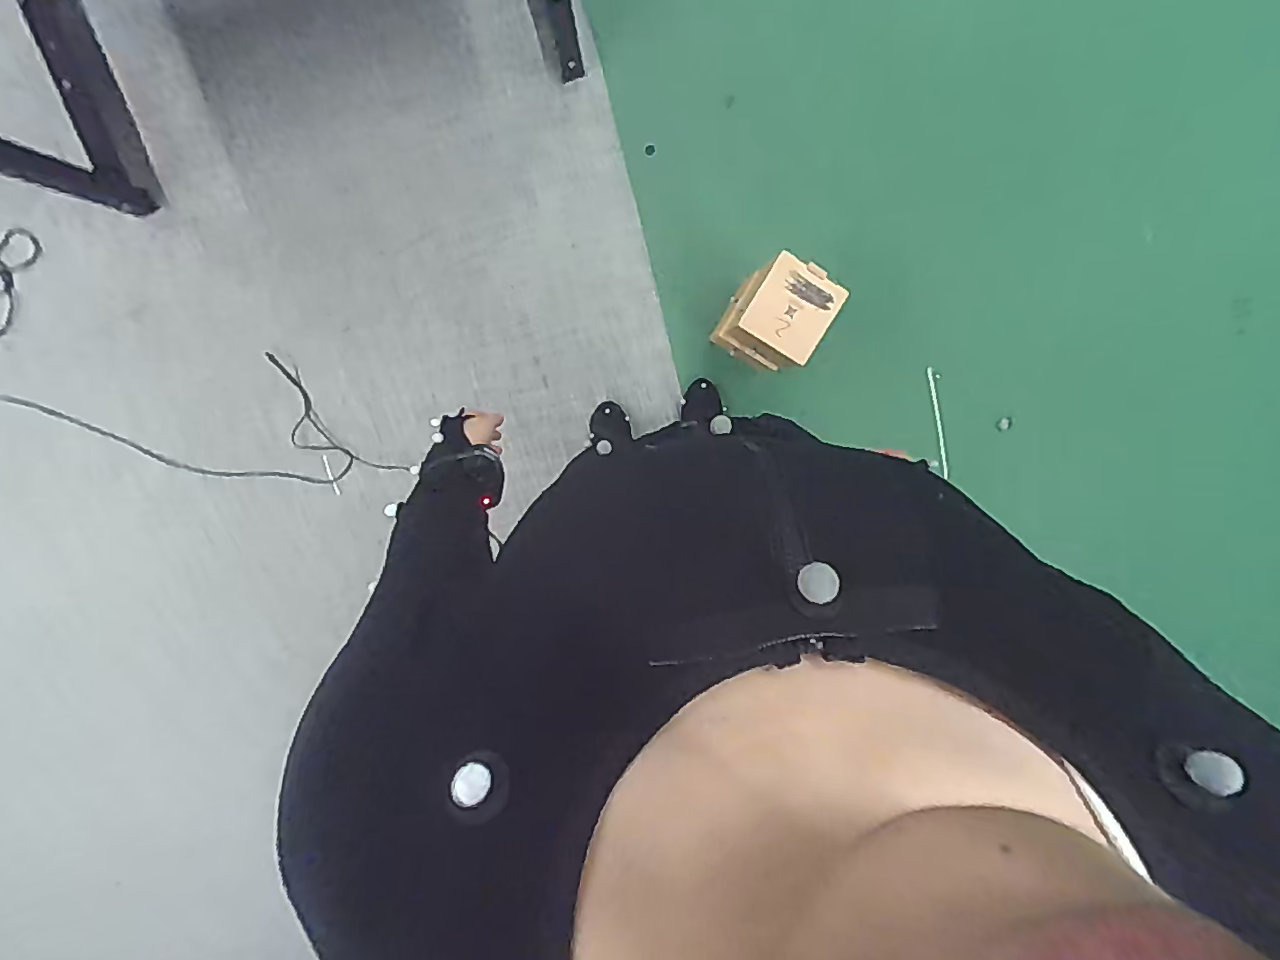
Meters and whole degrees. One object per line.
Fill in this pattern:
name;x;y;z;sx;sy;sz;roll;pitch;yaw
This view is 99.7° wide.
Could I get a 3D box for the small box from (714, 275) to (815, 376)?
small box;0.297;-0.371;1.337;0.168;0.176;0.179;30;99;-5
